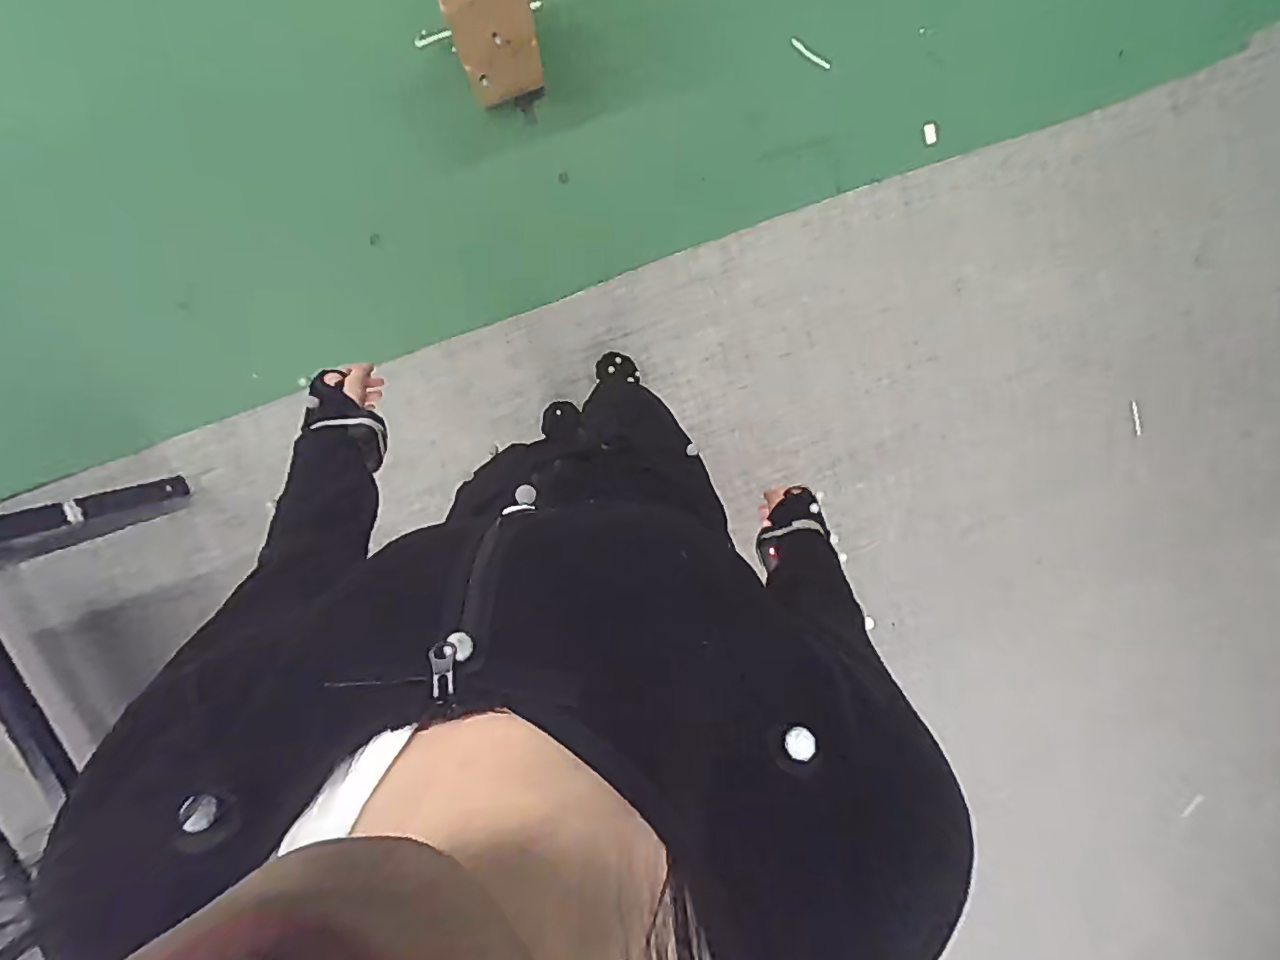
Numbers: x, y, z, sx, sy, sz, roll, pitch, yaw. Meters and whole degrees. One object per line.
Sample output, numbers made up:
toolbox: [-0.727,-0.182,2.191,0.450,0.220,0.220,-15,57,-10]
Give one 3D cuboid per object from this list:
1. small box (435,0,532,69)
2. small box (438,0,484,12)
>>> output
small box: [-0.328,-0.976,1.071,0.168,0.176,0.179,-23,100,0]
small box: [-0.313,-0.948,0.911,0.168,0.176,0.179,-25,99,0]
